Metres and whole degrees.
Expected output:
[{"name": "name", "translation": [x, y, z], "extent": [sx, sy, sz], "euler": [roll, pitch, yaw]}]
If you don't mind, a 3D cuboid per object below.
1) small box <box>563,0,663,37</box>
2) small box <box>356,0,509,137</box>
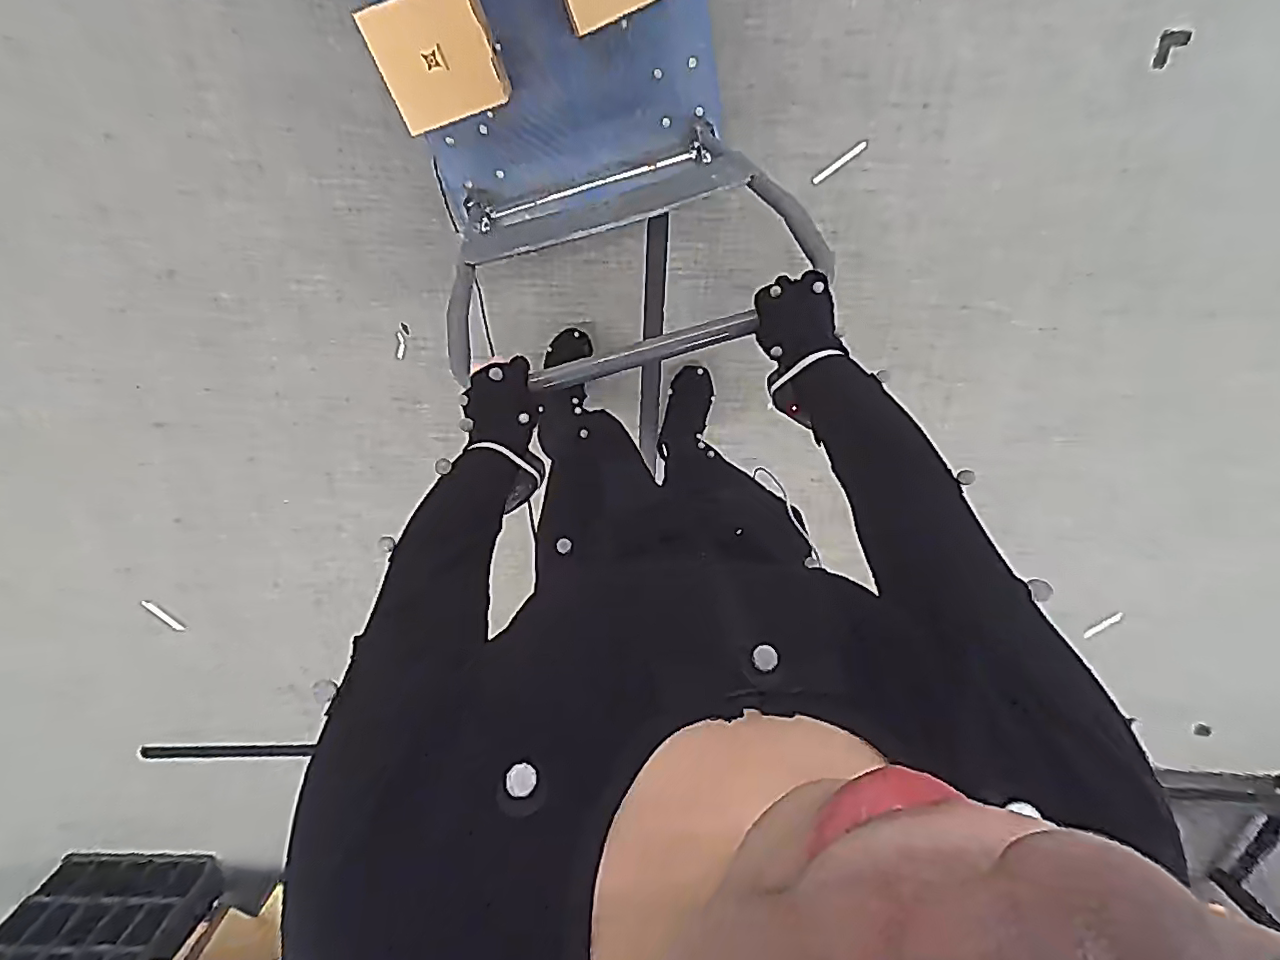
[{"name": "small box", "translation": [-0.054, -0.833, 0.856], "extent": [0.179, 0.176, 0.168], "euler": [-20, 130, 7]}, {"name": "small box", "translation": [-0.334, -0.707, 0.913], "extent": [0.179, 0.176, 0.168], "euler": [-19, 130, 4]}]
